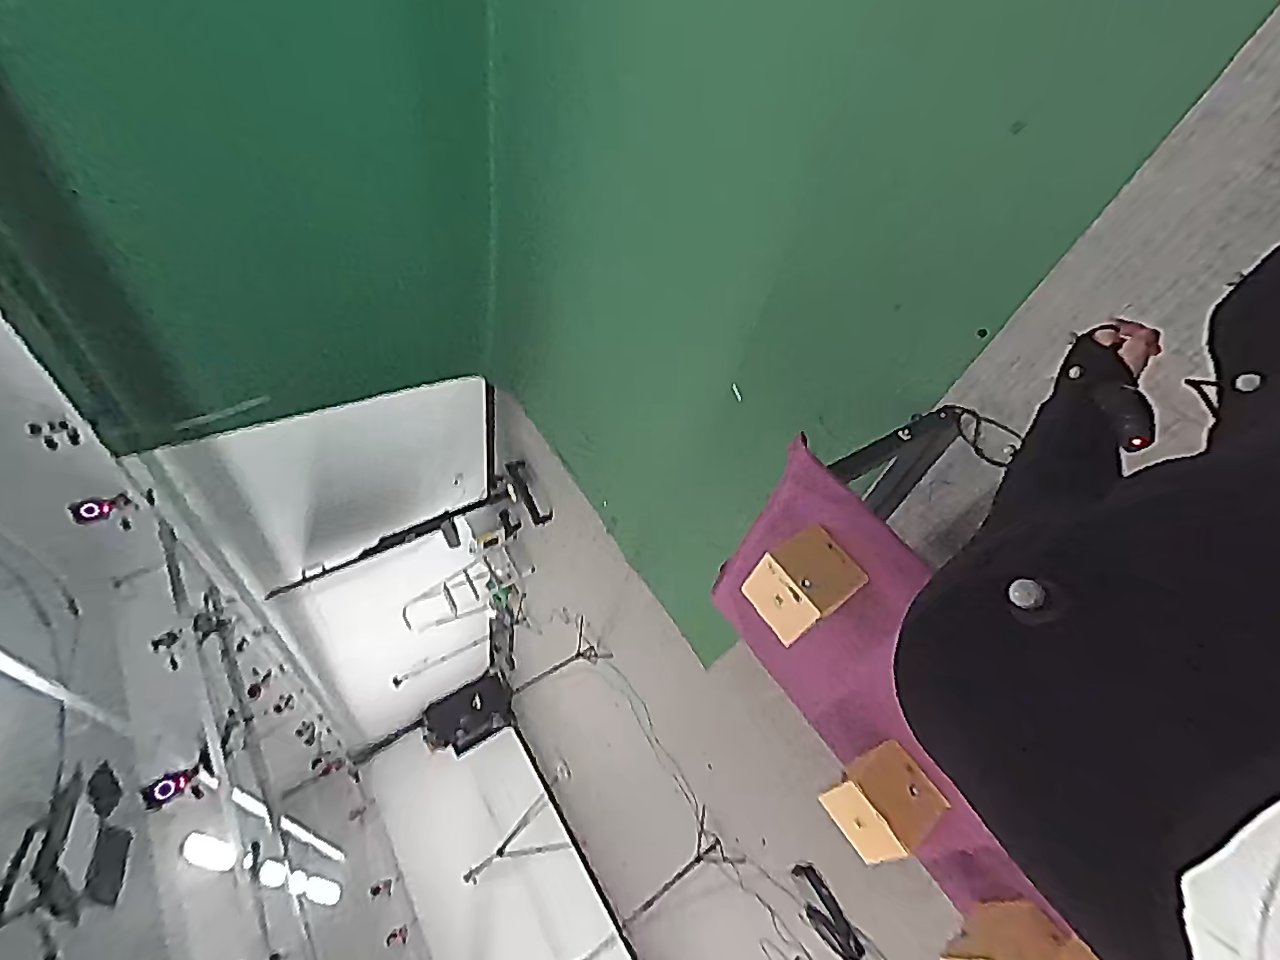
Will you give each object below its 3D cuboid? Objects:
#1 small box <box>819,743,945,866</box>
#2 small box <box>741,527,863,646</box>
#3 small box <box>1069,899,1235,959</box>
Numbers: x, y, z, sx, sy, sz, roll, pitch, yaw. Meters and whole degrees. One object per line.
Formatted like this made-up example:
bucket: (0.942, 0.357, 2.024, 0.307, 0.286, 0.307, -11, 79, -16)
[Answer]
small box: (0.558, 0.747, 1.249, 0.168, 0.176, 0.179, 51, 144, 27)
small box: (0.364, 0.237, 1.216, 0.168, 0.176, 0.179, 50, 148, 24)
small box: (0.829, 0.802, 0.853, 0.168, 0.176, 0.179, 51, 147, 27)
